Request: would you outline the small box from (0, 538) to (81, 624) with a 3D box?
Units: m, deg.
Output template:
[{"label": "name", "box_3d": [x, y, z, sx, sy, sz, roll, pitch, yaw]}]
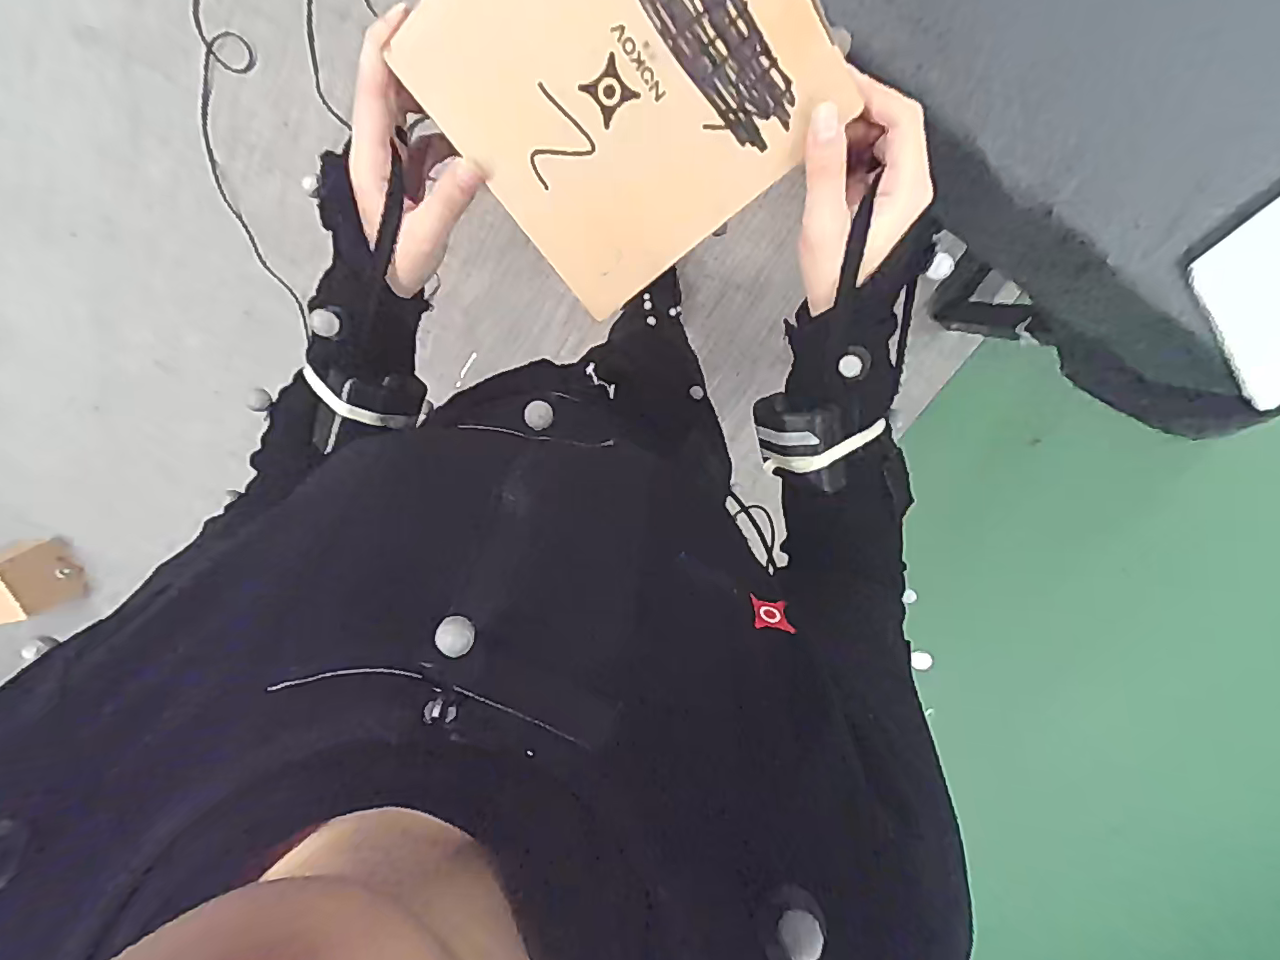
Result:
[{"label": "small box", "box_3d": [-1.687, 0.273, 1.445, 0.179, 0.176, 0.168, -10, 111, 4]}]
